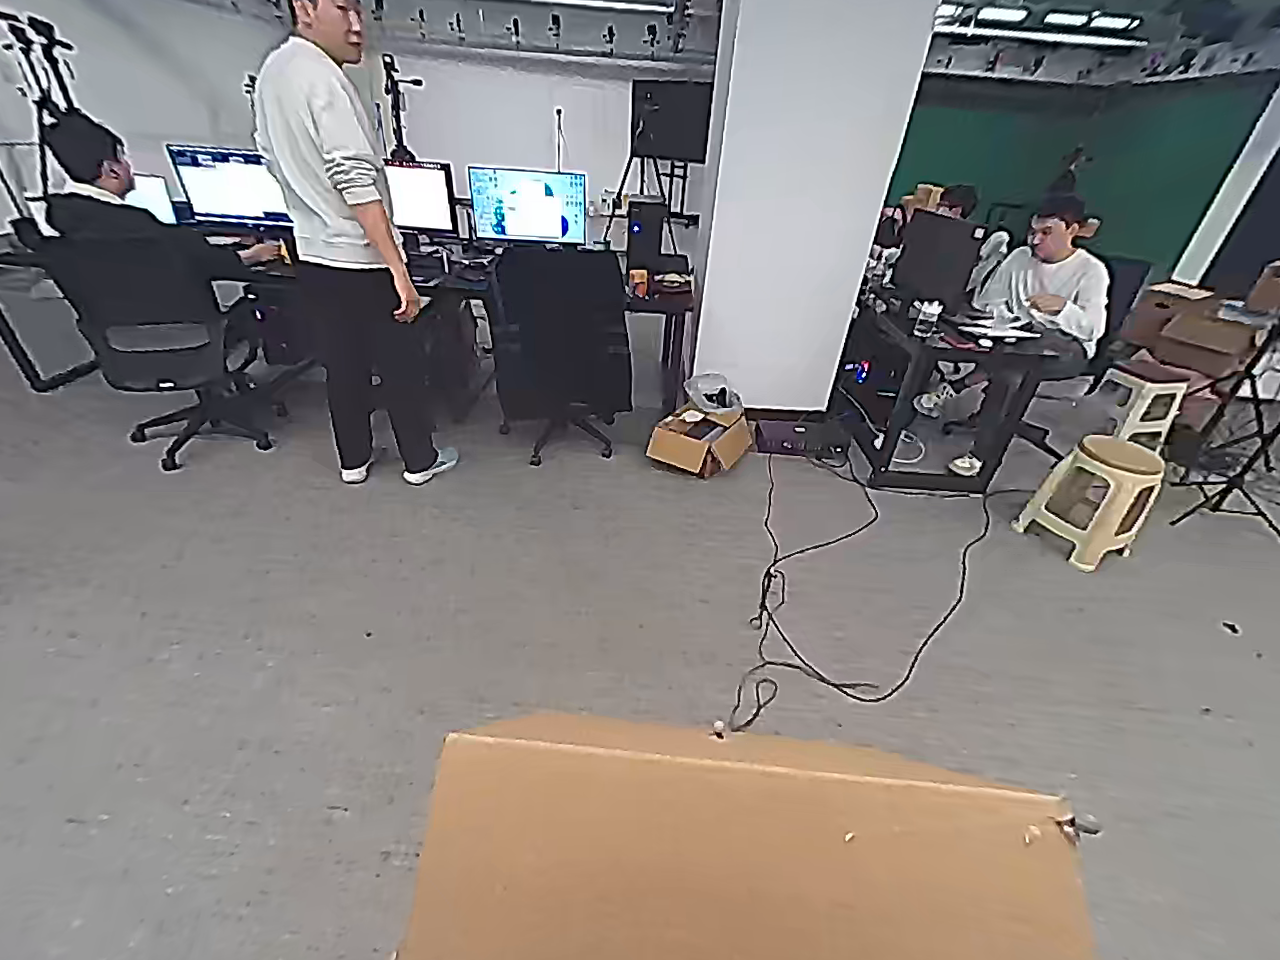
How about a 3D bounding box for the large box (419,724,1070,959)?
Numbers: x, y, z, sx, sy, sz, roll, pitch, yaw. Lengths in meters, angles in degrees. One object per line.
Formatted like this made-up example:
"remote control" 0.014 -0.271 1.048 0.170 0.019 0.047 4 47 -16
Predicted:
"large box" 0.059 0.391 0.453 0.408 0.320 0.320 4 70 2
